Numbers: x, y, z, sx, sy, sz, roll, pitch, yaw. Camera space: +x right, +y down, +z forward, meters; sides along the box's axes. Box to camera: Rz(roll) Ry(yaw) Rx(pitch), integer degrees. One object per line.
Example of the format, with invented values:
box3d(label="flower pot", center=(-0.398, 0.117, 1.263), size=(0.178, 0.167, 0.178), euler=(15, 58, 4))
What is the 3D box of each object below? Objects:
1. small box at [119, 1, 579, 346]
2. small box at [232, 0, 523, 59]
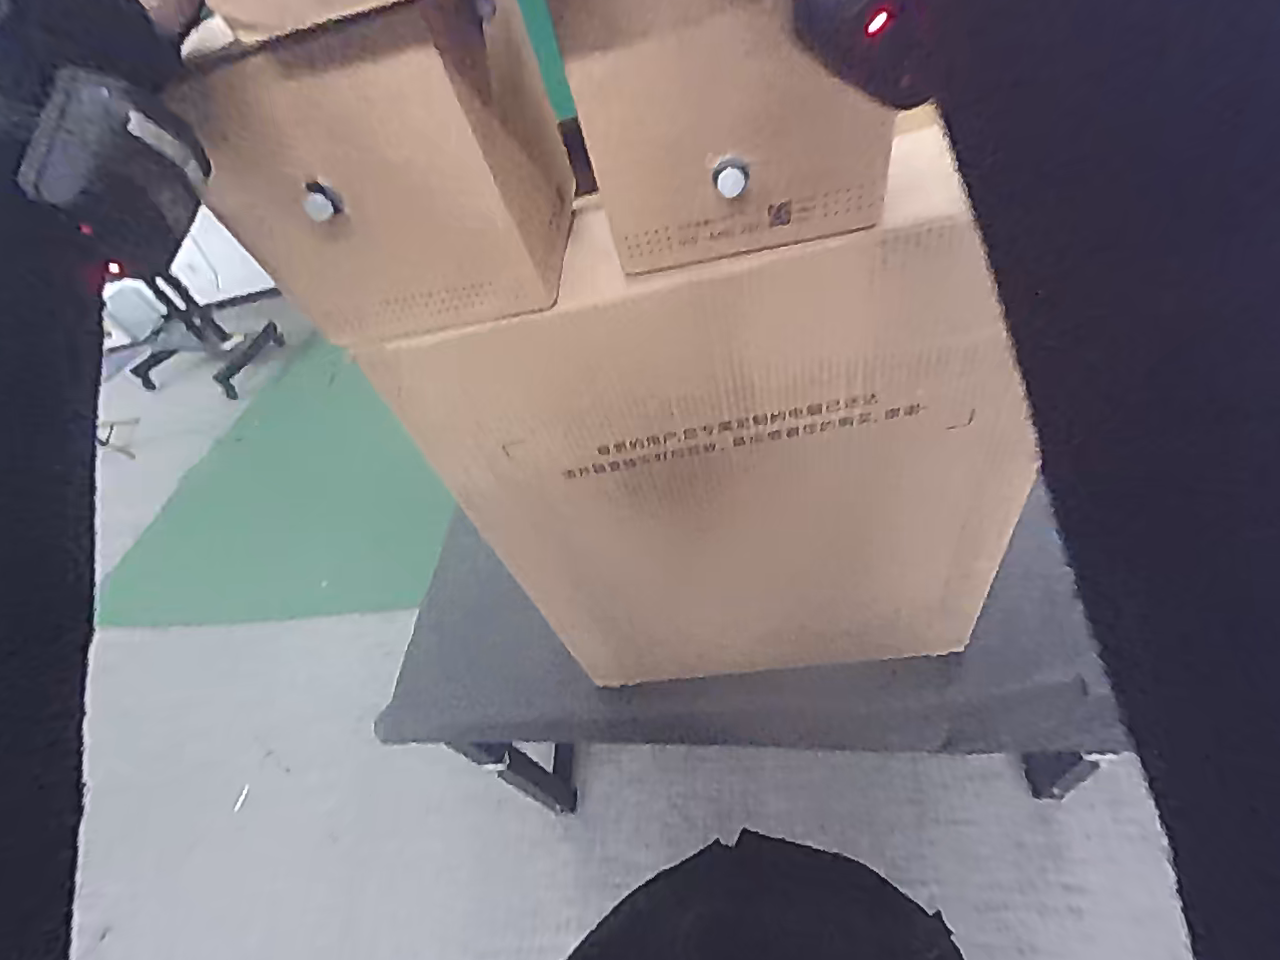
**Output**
box3d(label="small box", center=(-0.155, -0.208, 0.360), size=(0.179, 0.176, 0.168), euler=(-5, 56, 12))
box3d(label="small box", center=(-0.102, -0.293, 0.186), size=(0.168, 0.176, 0.179), euler=(-5, 61, 12))
